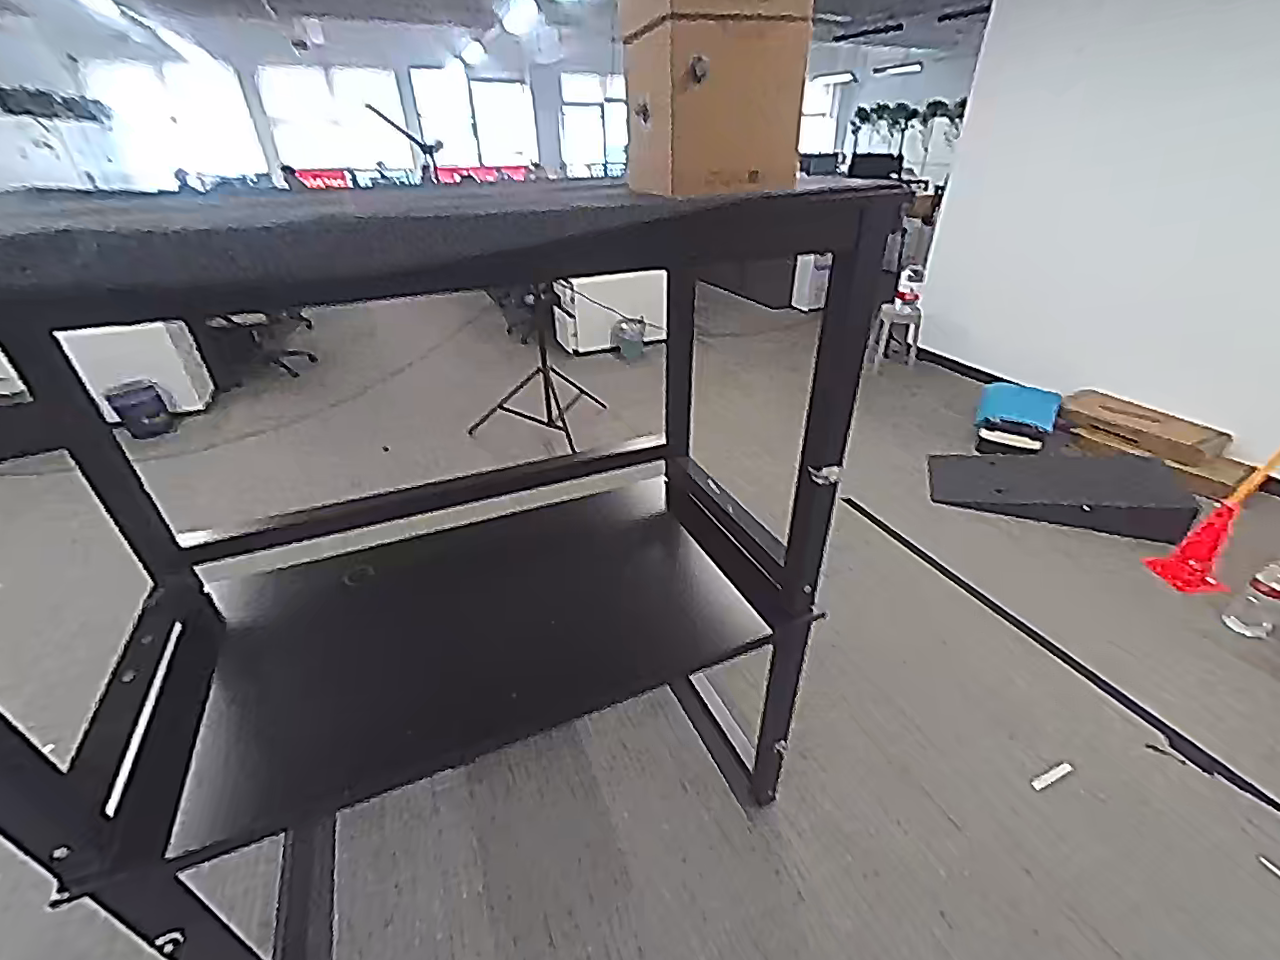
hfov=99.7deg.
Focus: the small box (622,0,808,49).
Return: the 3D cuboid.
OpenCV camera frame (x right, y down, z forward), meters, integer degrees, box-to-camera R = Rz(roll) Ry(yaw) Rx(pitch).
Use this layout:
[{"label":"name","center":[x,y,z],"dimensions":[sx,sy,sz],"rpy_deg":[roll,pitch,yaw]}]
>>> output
[{"label":"small box","center":[0.076,-0.590,0.592],"dimensions":[0.168,0.176,0.179],"rpy_deg":[-13,33,-15]}]
